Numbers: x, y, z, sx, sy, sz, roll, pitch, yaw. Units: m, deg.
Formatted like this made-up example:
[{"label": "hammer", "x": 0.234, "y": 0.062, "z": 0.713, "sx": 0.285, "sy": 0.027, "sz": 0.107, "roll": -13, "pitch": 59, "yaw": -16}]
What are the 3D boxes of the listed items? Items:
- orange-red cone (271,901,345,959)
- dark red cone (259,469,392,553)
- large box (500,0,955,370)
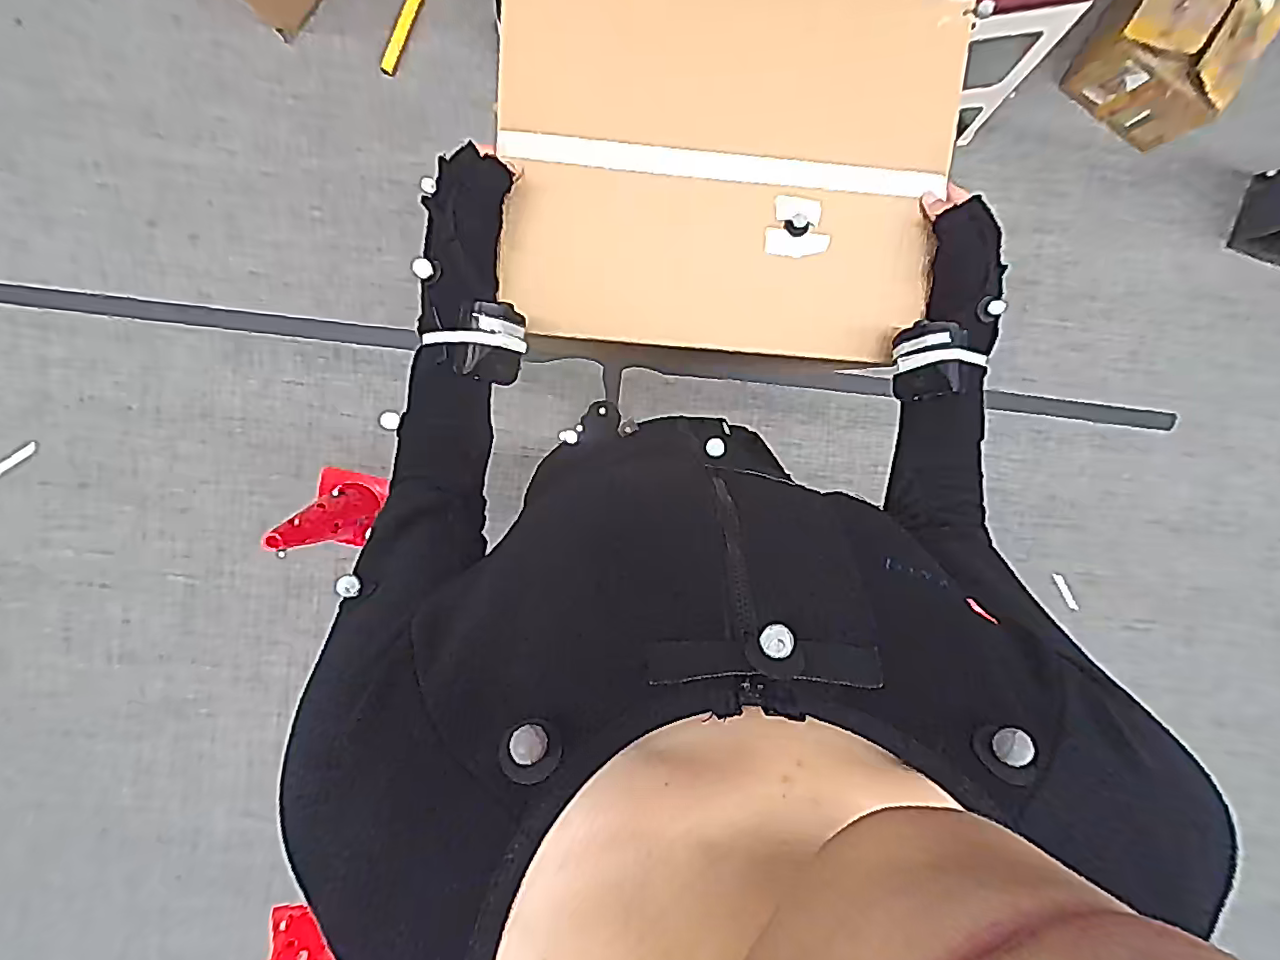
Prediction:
[{"label": "orange-red cone", "x": -0.973, "y": 1.370, "z": 1.436, "sx": 0.198, "sy": 0.360, "sz": 0.199, "roll": 4, "pitch": 99, "yaw": -2}, {"label": "dark red cone", "x": -0.750, "y": 0.101, "z": 1.256, "sx": 0.201, "sy": 0.394, "sz": 0.202, "roll": 12, "pitch": 97, "yaw": -5}, {"label": "large box", "x": 0.065, "y": -0.303, "z": 0.636, "sx": 0.408, "sy": 0.320, "sz": 0.320, "roll": 4, "pitch": 100, "yaw": -5}]
